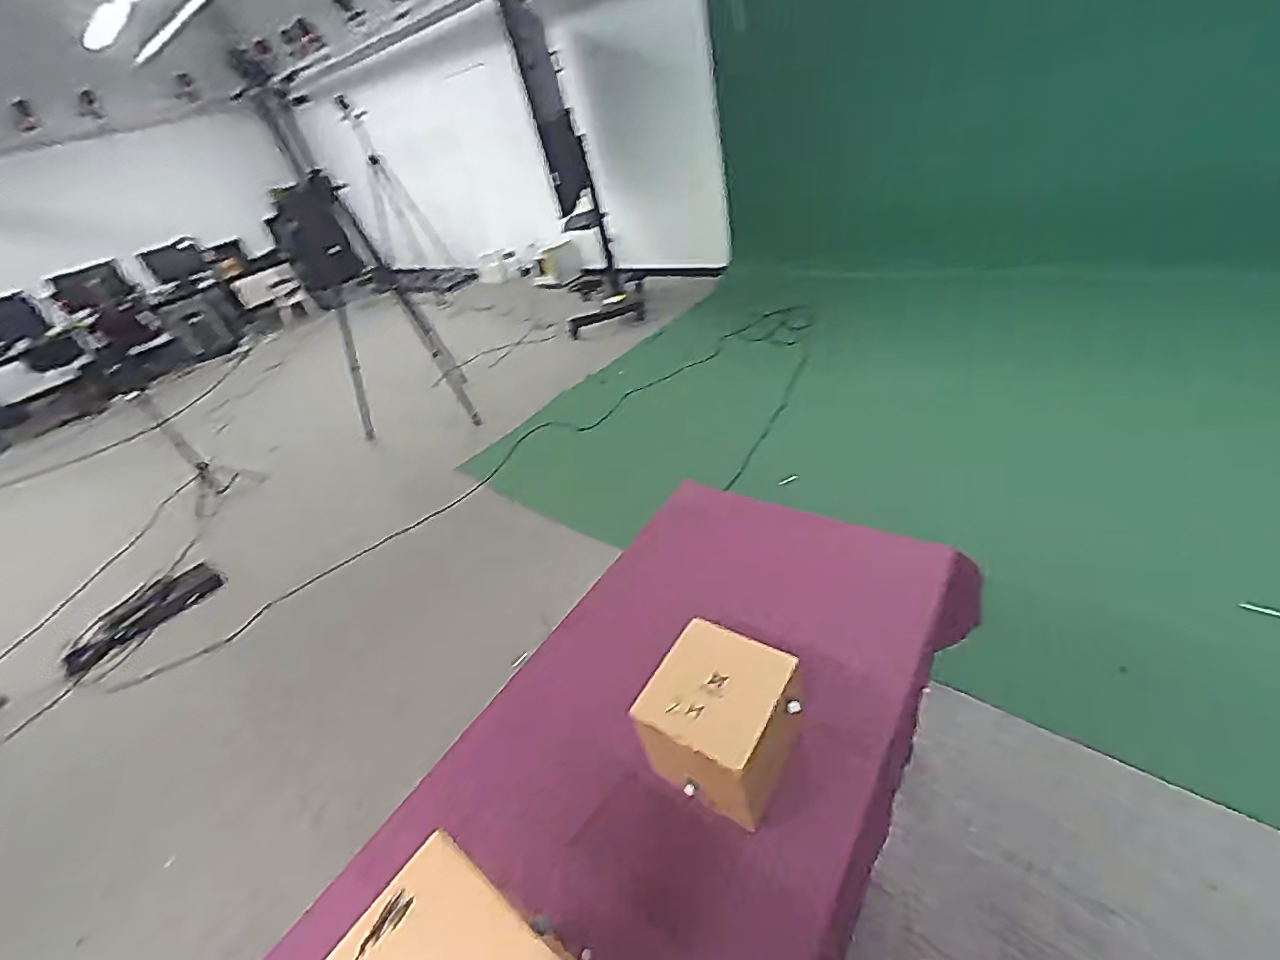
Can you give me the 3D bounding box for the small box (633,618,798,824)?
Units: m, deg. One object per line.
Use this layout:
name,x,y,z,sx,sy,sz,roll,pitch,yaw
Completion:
small box,0.117,0.337,0.771,0.168,0.176,0.179,13,45,35

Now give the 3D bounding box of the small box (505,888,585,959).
small box,-0.111,0.574,0.544,0.179,0.176,0.168,16,47,35

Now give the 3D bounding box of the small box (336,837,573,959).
small box,-0.143,0.449,0.443,0.179,0.176,0.168,16,46,35
